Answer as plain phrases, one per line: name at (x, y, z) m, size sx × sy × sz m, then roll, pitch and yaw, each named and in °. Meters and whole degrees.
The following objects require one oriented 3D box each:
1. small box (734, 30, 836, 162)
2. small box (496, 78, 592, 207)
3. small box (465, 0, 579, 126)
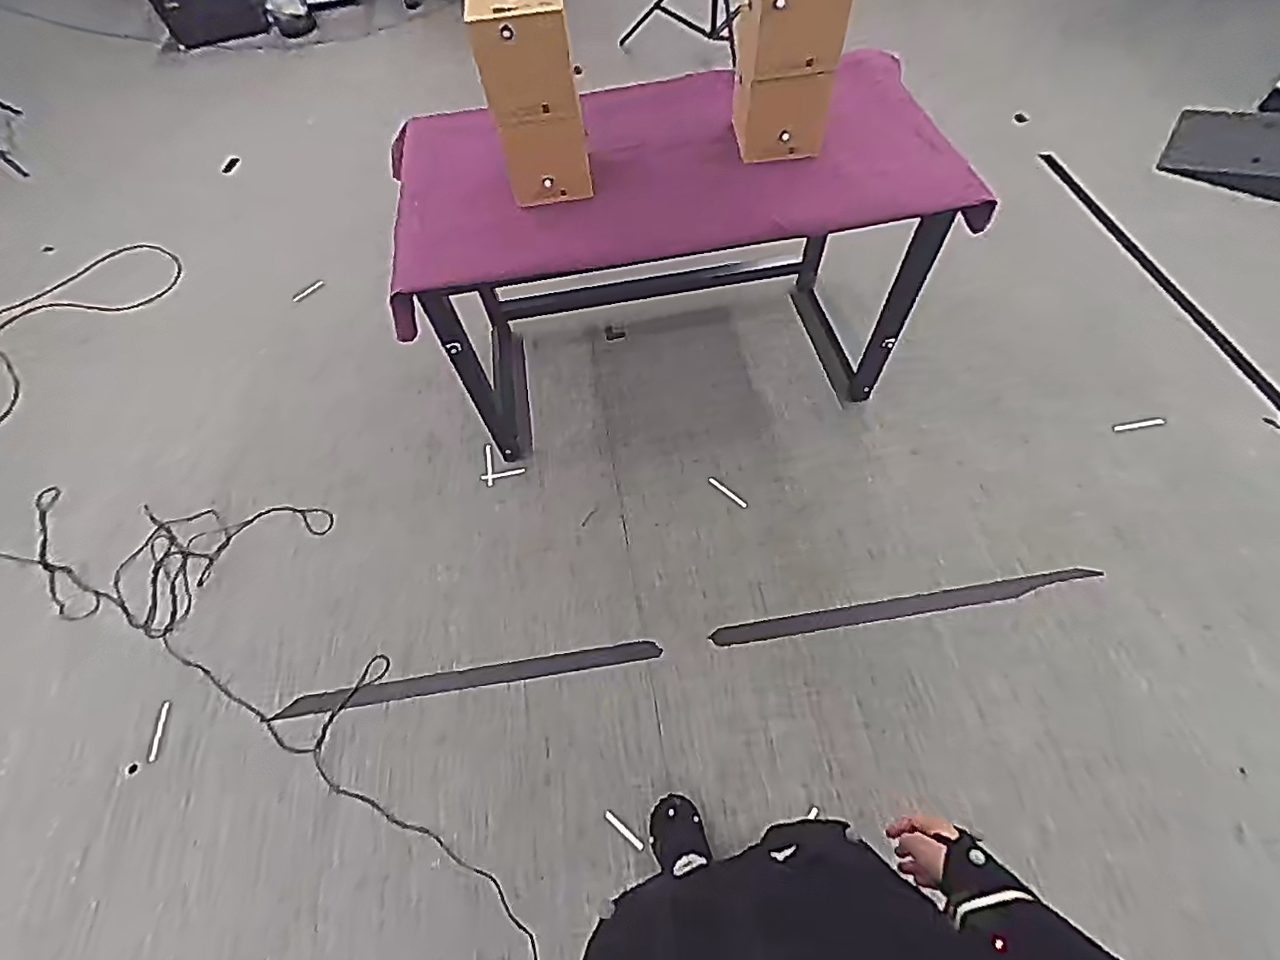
small box at (0.299, -0.816, 1.155) m, size 0.168 × 0.176 × 0.179 m, roll -5°, pitch 61°, yaw 2°
small box at (-0.197, -0.707, 1.133) m, size 0.168 × 0.176 × 0.179 m, roll -9°, pitch 62°, yaw 0°
small box at (-0.209, -0.786, 0.990) m, size 0.168 × 0.176 × 0.179 m, roll -8°, pitch 60°, yaw 0°
